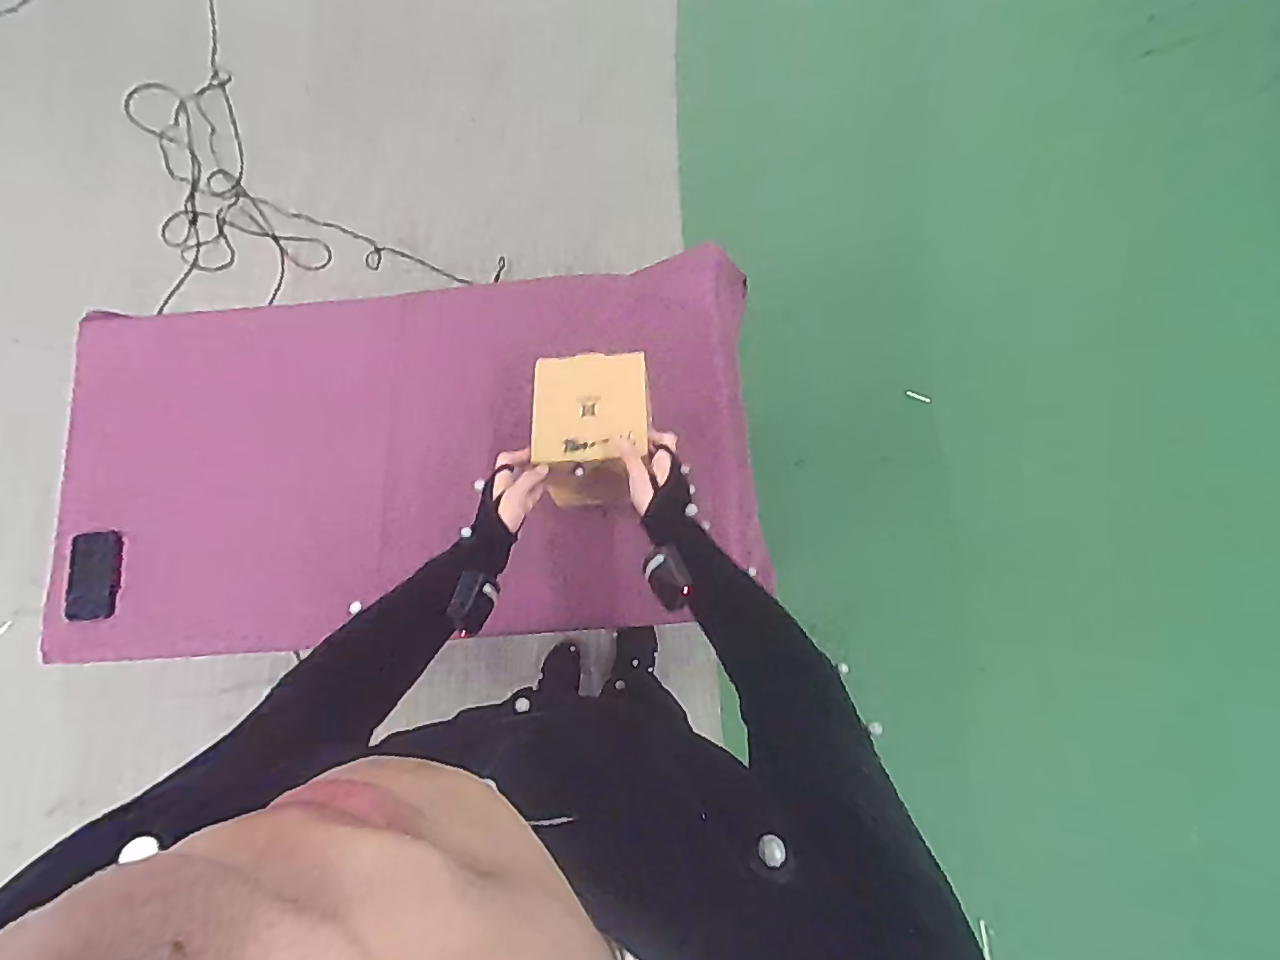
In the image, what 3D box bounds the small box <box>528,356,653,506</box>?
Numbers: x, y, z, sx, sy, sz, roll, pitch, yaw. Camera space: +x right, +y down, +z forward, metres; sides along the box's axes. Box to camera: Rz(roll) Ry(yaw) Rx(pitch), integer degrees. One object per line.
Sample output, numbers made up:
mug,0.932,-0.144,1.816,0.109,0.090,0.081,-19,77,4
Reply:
small box,-0.068,-0.070,0.841,0.168,0.176,0.179,-3,69,4
